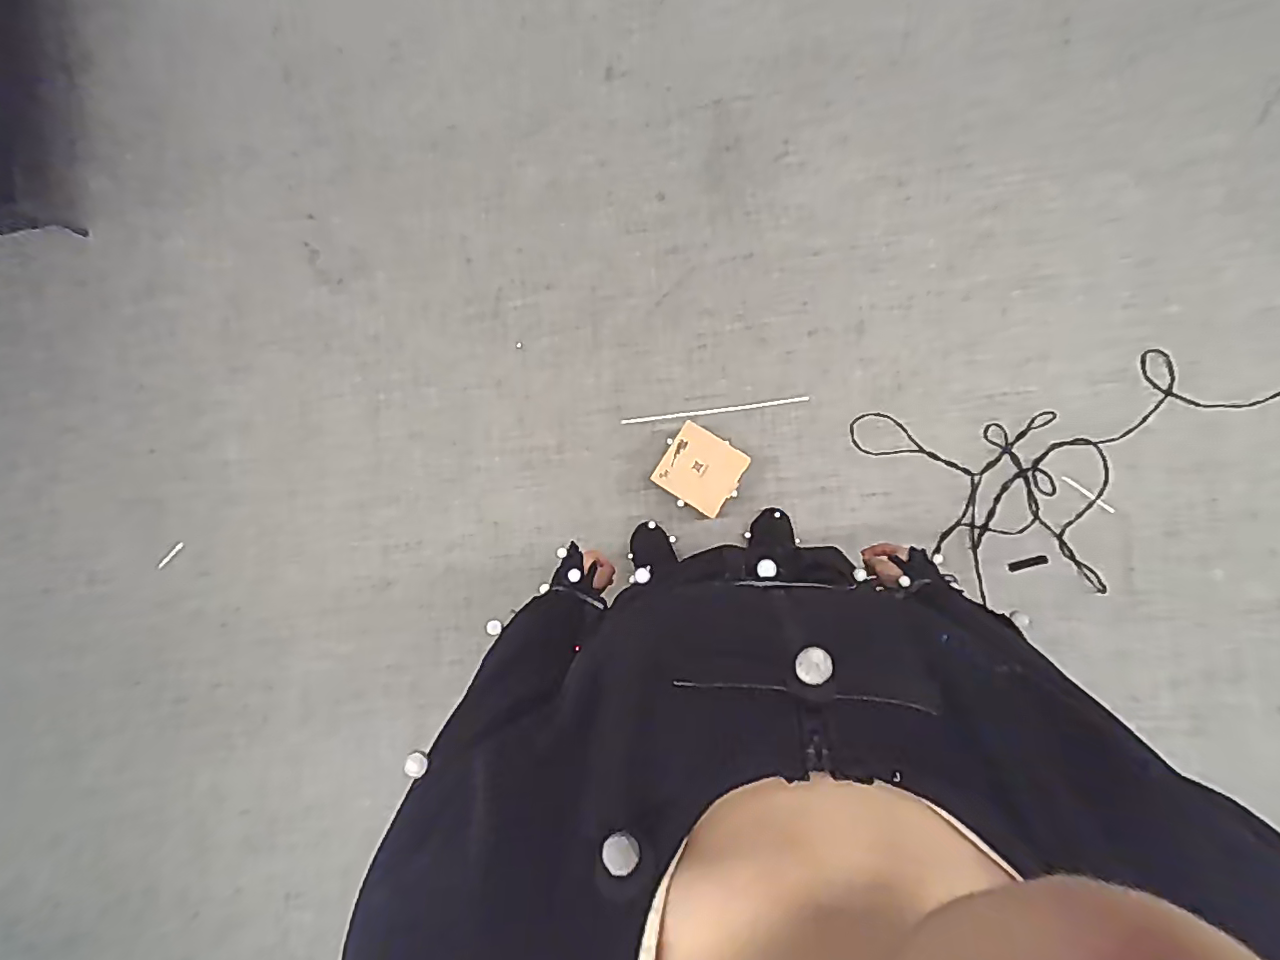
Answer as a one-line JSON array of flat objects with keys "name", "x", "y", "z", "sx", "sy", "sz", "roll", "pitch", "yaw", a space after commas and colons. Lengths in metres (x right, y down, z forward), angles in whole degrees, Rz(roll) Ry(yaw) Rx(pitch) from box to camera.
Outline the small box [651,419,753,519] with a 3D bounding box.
[{"name": "small box", "x": 0.148, "y": -0.023, "z": 1.294, "sx": 0.179, "sy": 0.176, "sz": 0.168, "roll": 33, "pitch": 91, "yaw": 7}]
